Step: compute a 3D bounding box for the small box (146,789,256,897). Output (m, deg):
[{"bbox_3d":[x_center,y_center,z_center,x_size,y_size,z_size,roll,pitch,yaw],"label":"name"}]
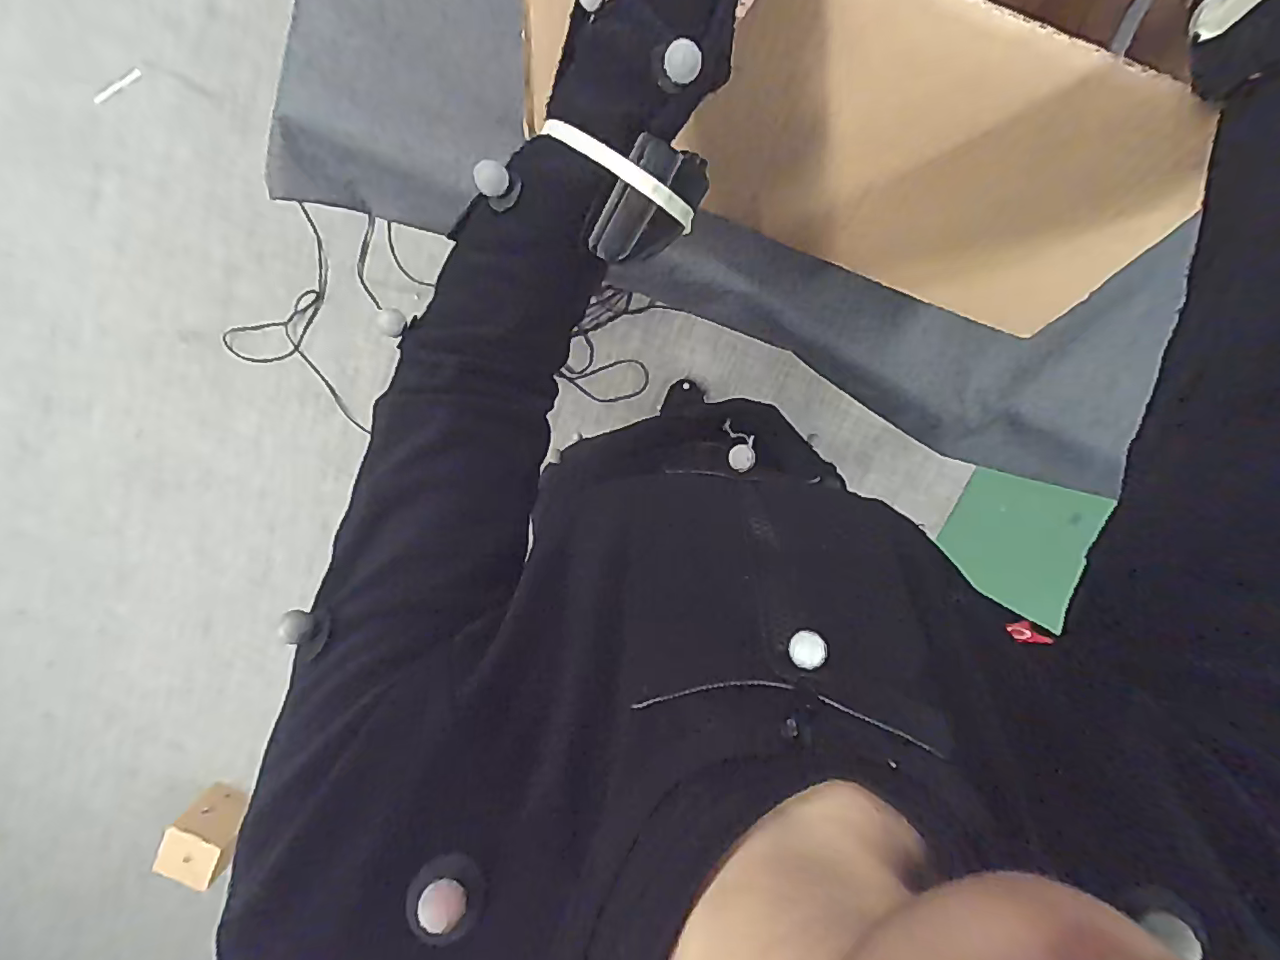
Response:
[{"bbox_3d":[-1.276,1.054,1.584,0.168,0.176,0.179,26,103,-2],"label":"small box"}]
